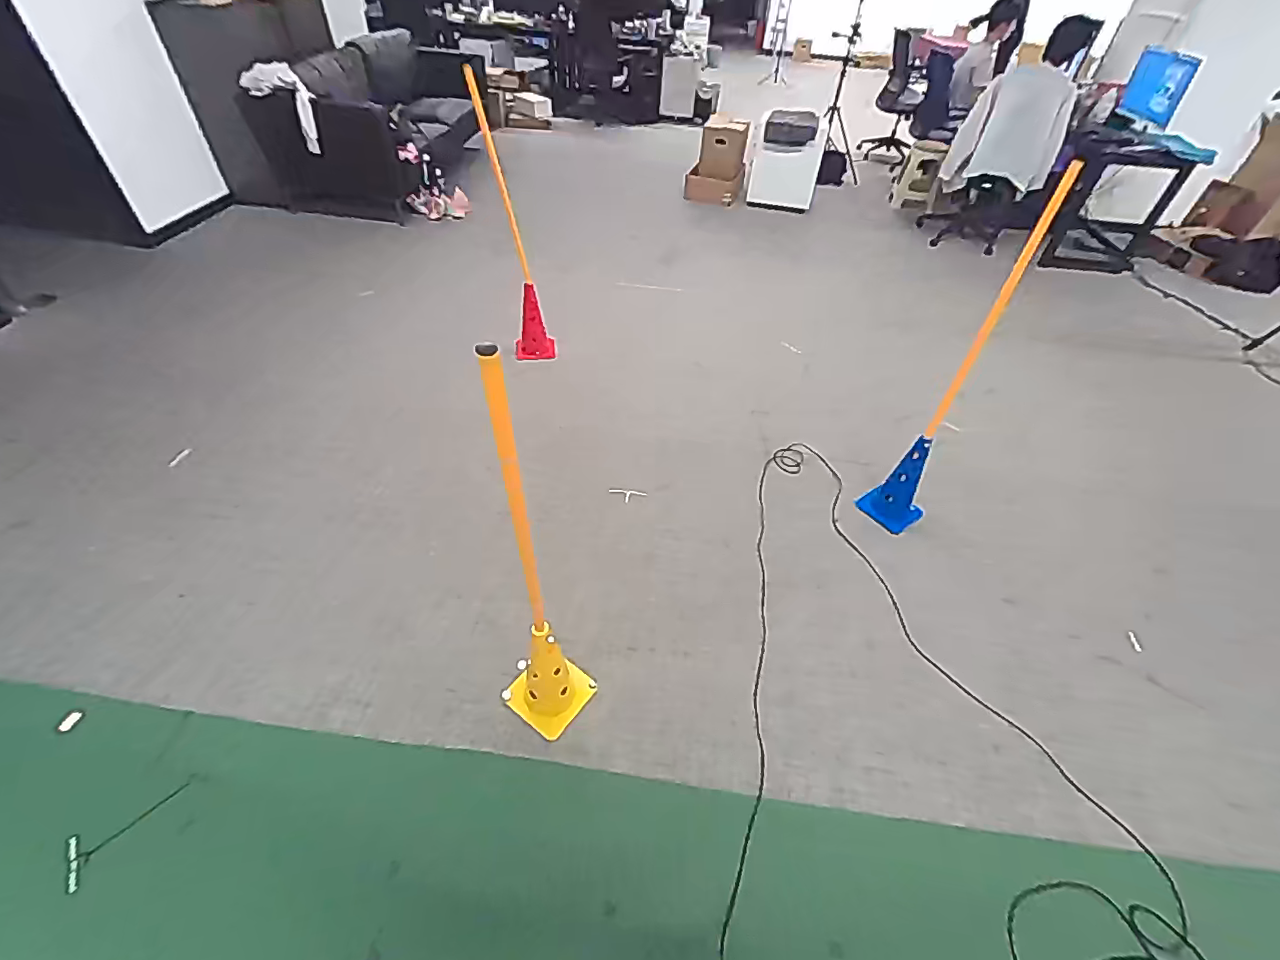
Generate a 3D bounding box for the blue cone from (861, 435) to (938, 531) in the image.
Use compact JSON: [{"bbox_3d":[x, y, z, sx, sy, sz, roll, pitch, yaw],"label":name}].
[{"bbox_3d":[0.982,-0.012,1.982,0.193,0.380,0.192,-25,51,-30],"label":"blue cone"}]
